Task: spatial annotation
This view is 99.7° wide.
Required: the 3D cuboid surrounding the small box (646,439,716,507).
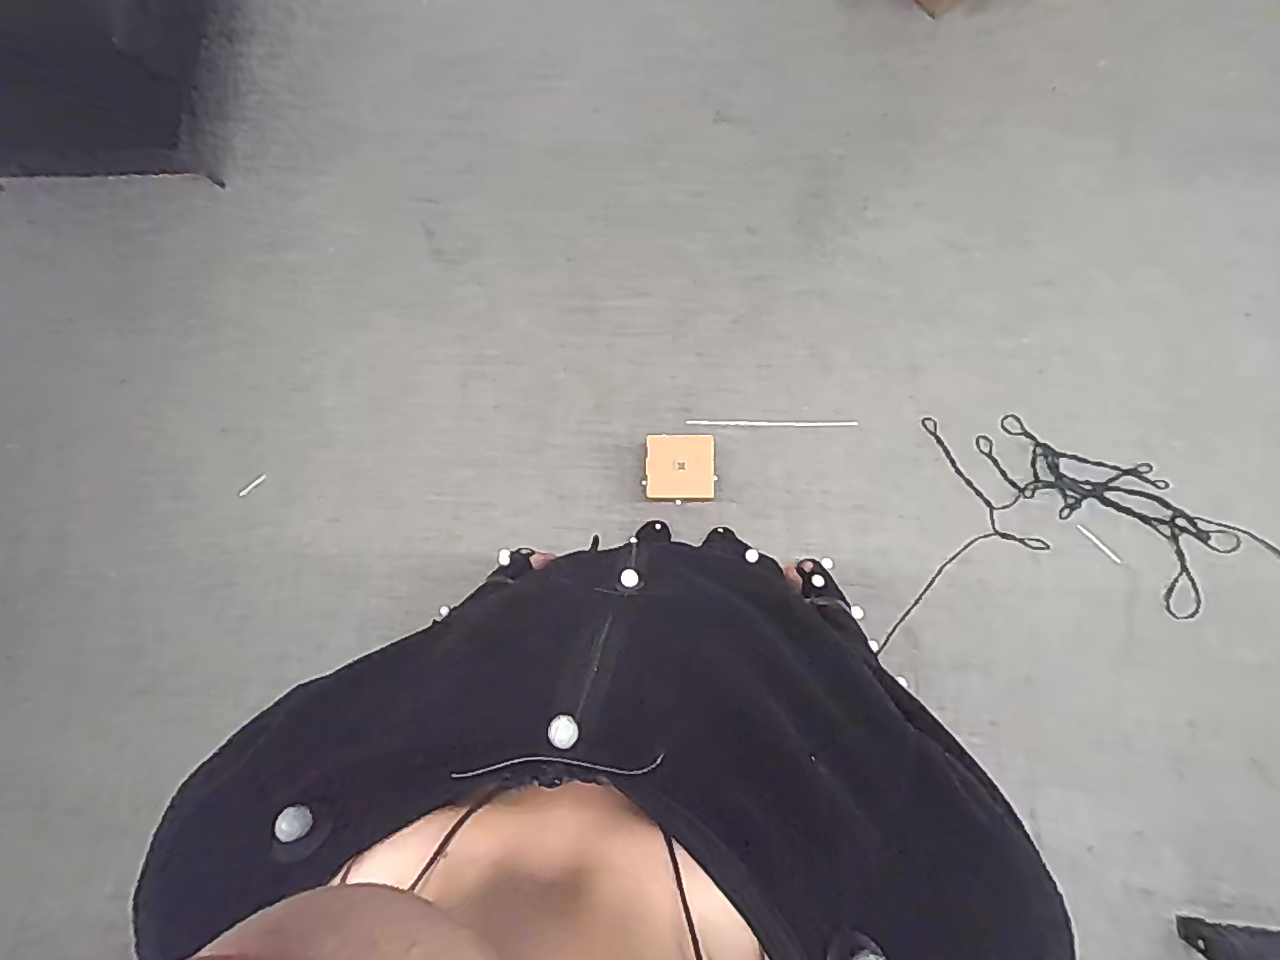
[{"bbox_3d":[0.112,-0.014,1.455,0.179,0.176,0.168,0,84,5],"label":"small box"}]
